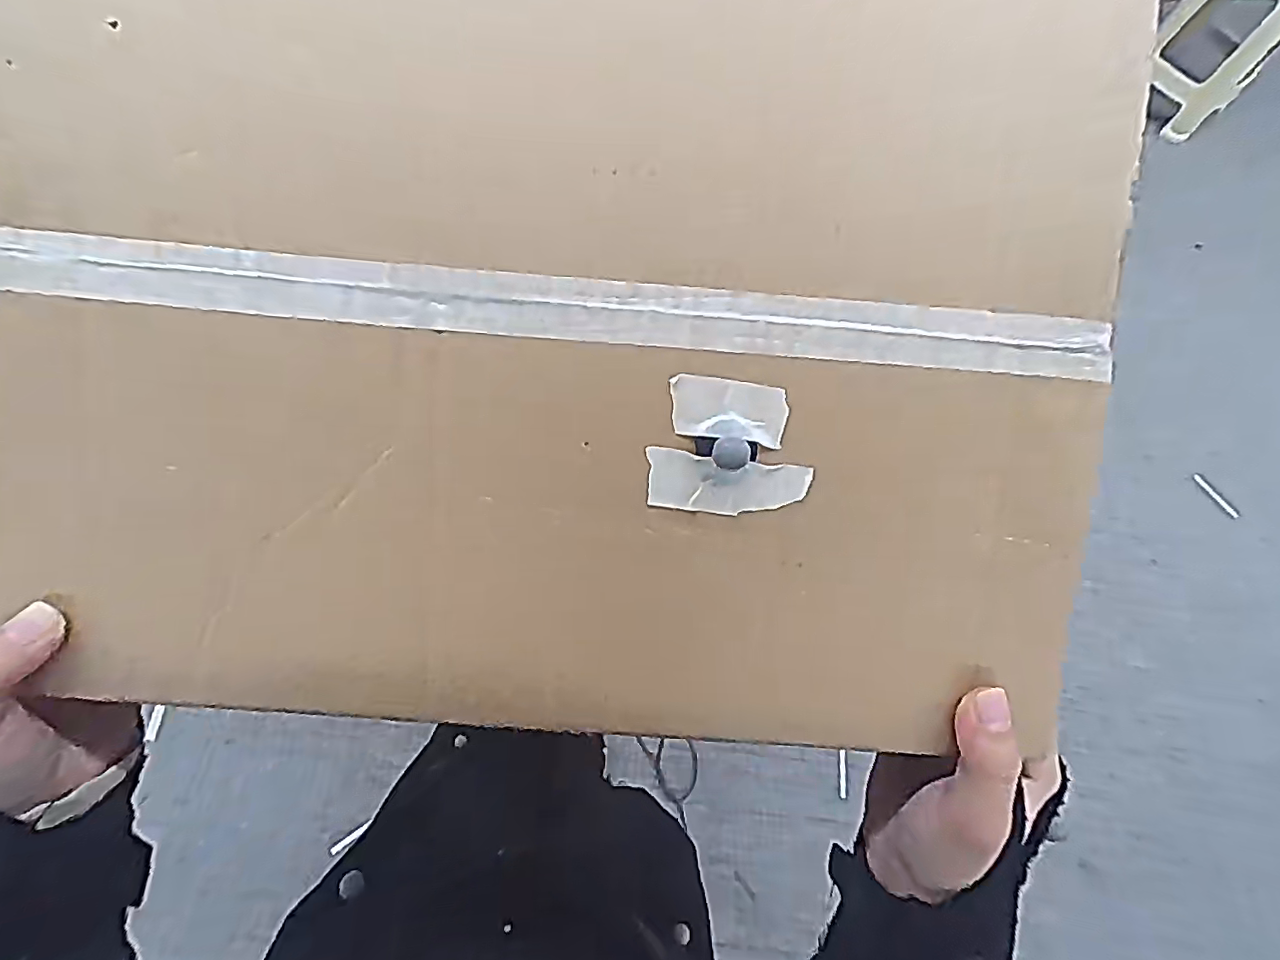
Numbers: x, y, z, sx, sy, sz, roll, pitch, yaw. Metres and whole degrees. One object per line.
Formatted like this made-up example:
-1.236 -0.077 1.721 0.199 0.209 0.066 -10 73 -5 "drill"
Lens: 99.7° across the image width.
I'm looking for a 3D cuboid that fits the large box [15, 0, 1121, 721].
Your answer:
-0.032 -0.074 0.353 0.408 0.320 0.320 4 95 -2 "large box"
